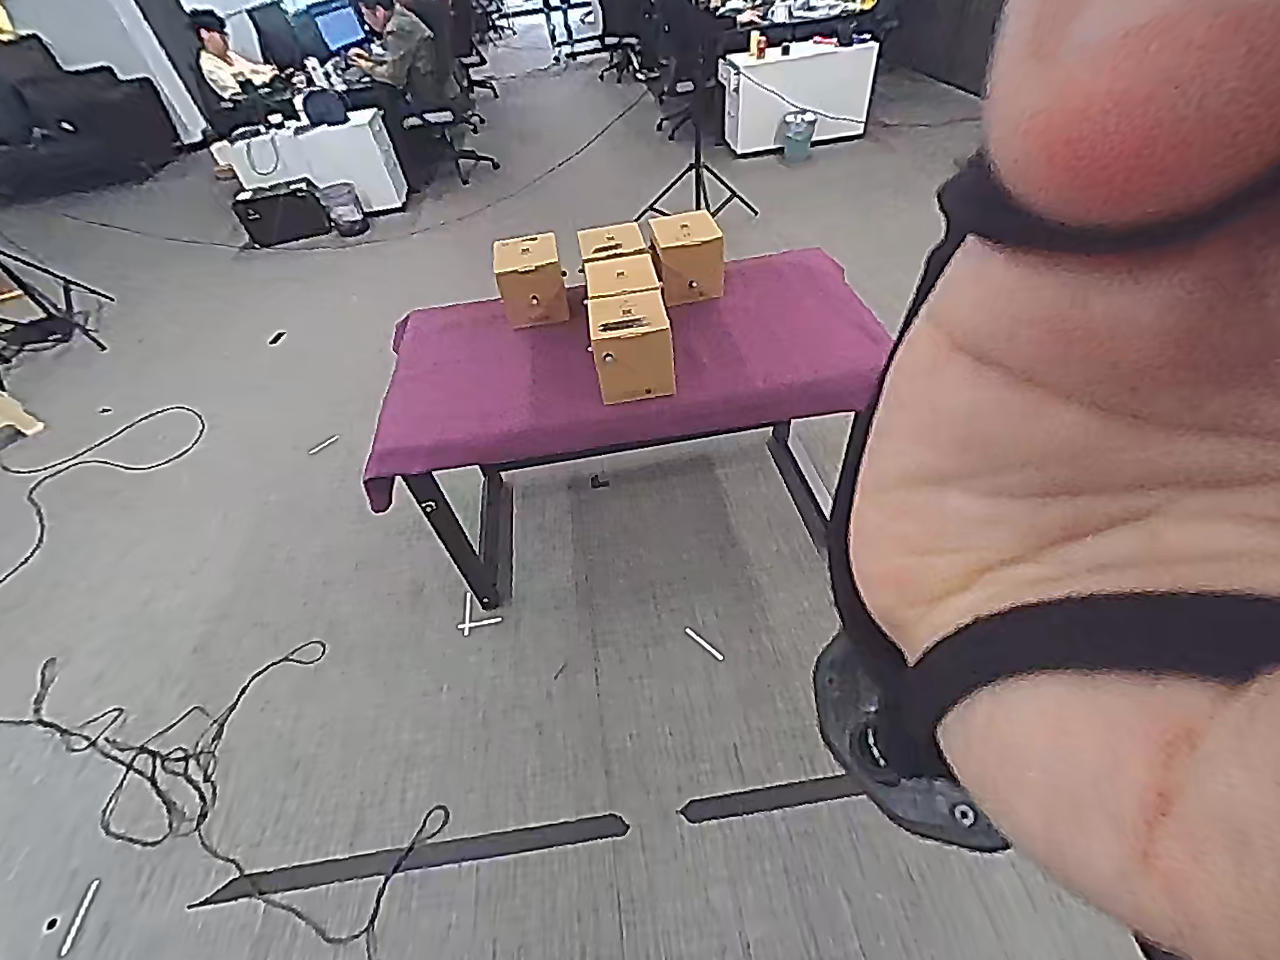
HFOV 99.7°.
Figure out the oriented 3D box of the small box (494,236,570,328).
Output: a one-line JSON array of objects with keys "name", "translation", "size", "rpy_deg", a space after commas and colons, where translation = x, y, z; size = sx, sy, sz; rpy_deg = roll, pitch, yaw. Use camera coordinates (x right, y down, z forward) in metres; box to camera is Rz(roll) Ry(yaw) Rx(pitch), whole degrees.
[{"name": "small box", "translation": [-0.290, -0.529, 1.467], "size": [0.168, 0.176, 0.179], "rpy_deg": [-11, 50, -2]}]
